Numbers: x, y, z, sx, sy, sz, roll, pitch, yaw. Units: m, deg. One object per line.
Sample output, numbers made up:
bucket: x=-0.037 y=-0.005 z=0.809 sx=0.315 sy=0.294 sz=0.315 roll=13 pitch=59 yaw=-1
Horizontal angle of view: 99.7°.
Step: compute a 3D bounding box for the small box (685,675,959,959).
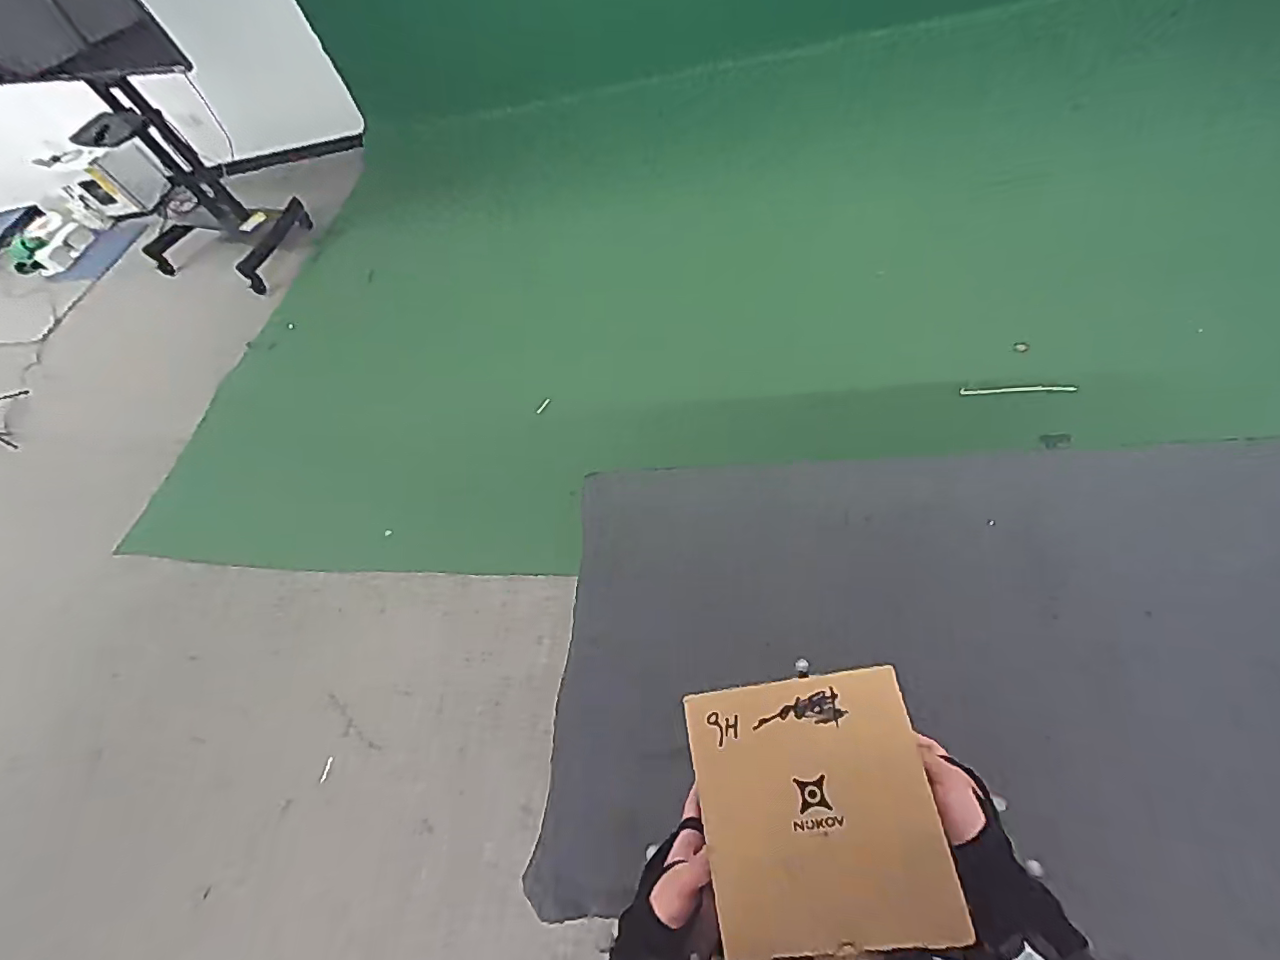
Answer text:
small box: x=0.141 y=0.273 z=0.476 sx=0.168 sy=0.176 sz=0.179 roll=-11 pitch=68 yaw=6
